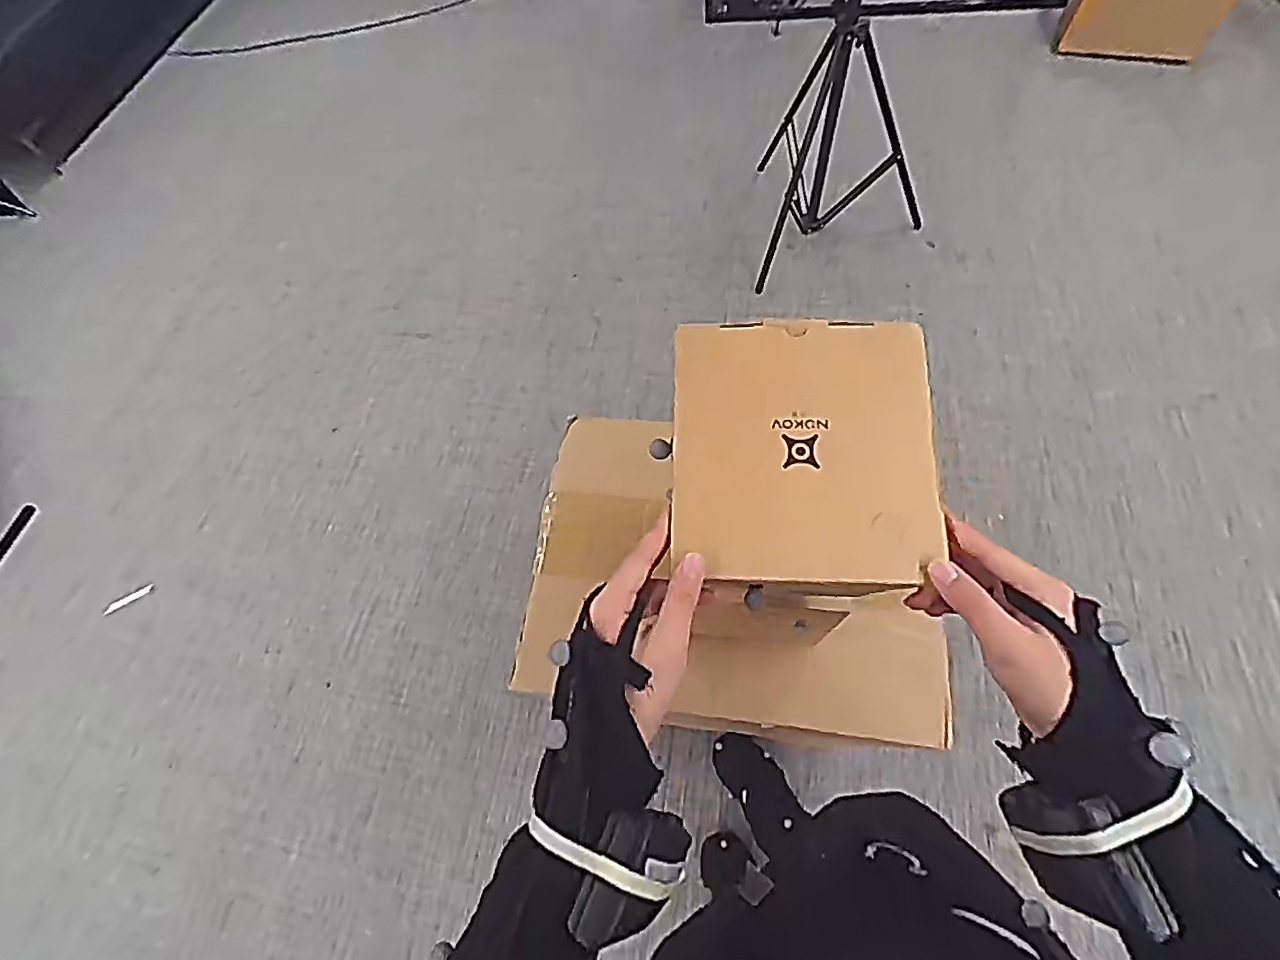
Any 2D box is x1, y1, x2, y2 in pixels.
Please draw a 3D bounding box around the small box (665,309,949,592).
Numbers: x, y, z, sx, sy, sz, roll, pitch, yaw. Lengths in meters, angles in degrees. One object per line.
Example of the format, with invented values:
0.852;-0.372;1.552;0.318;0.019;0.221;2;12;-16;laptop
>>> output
0.107;-0.008;0.415;0.168;0.176;0.179;1;74;5;small box
